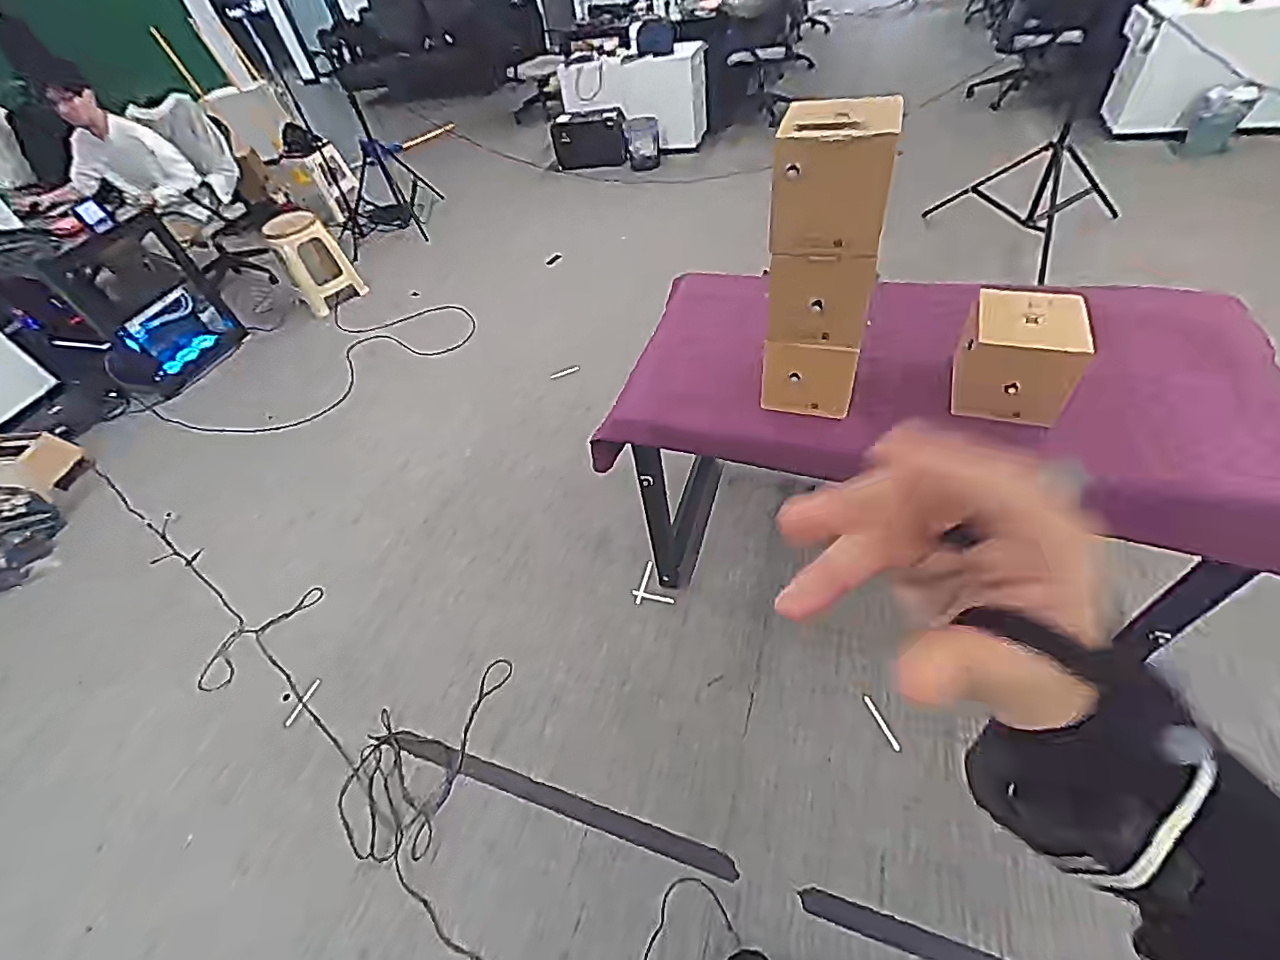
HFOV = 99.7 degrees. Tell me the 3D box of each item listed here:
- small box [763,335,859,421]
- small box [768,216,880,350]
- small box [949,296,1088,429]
[{"bbox_3d":[0.346,-0.240,1.088,0.168,0.176,0.179,11,50,18],"label":"small box"},{"bbox_3d":[0.326,-0.353,0.972,0.168,0.176,0.179,9,51,17],"label":"small box"},{"bbox_3d":[0.692,-0.218,1.007,0.168,0.176,0.179,12,52,19],"label":"small box"}]
